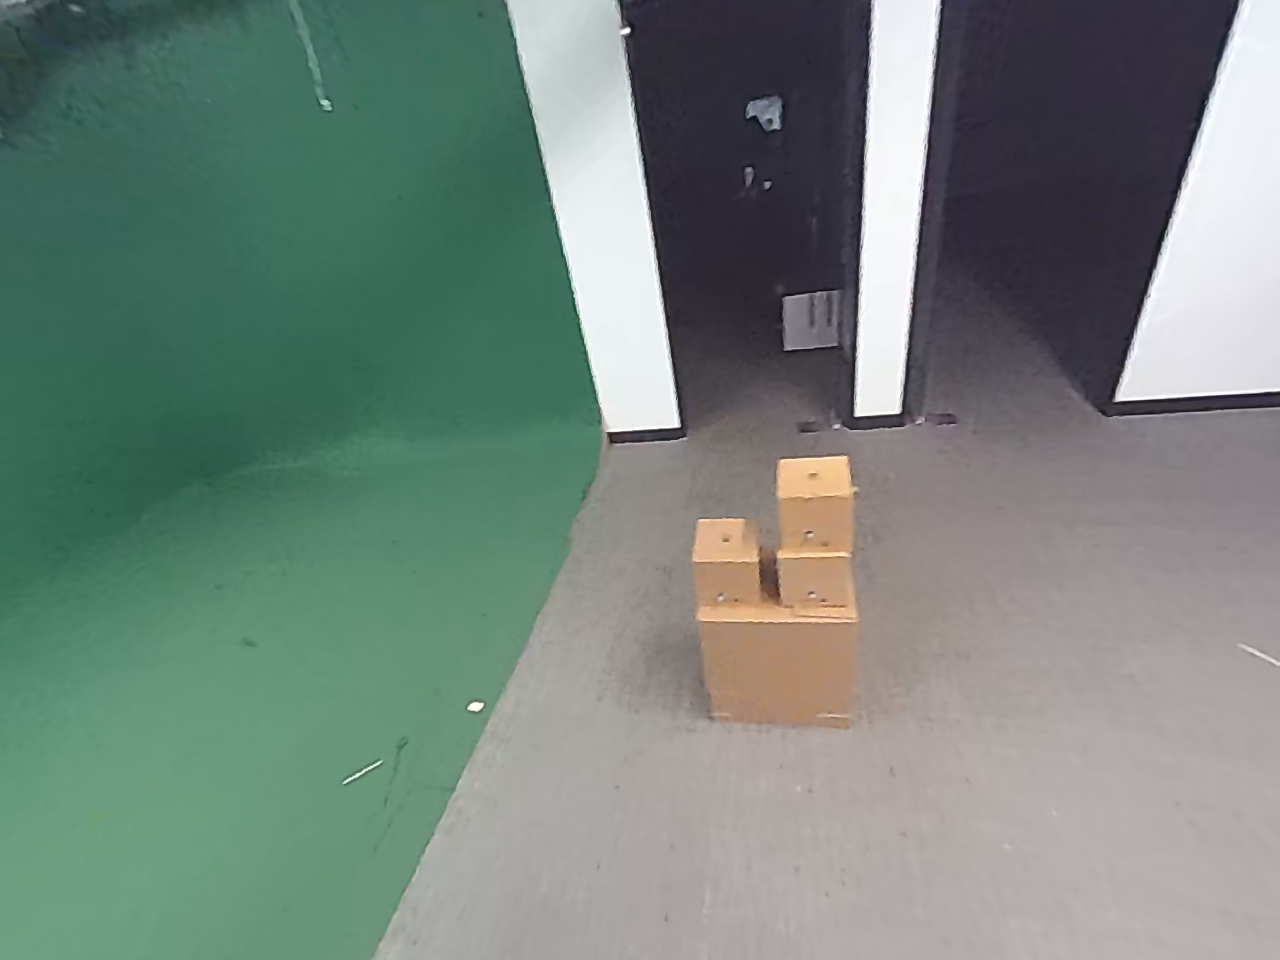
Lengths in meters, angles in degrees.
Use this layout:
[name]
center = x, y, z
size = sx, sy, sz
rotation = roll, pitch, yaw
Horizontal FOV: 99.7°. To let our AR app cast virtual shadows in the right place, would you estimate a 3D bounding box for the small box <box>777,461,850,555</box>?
[small box]
center = 0.434, 0.068, 1.359
size = 0.168, 0.176, 0.179
rotation = -2, 32, 17
